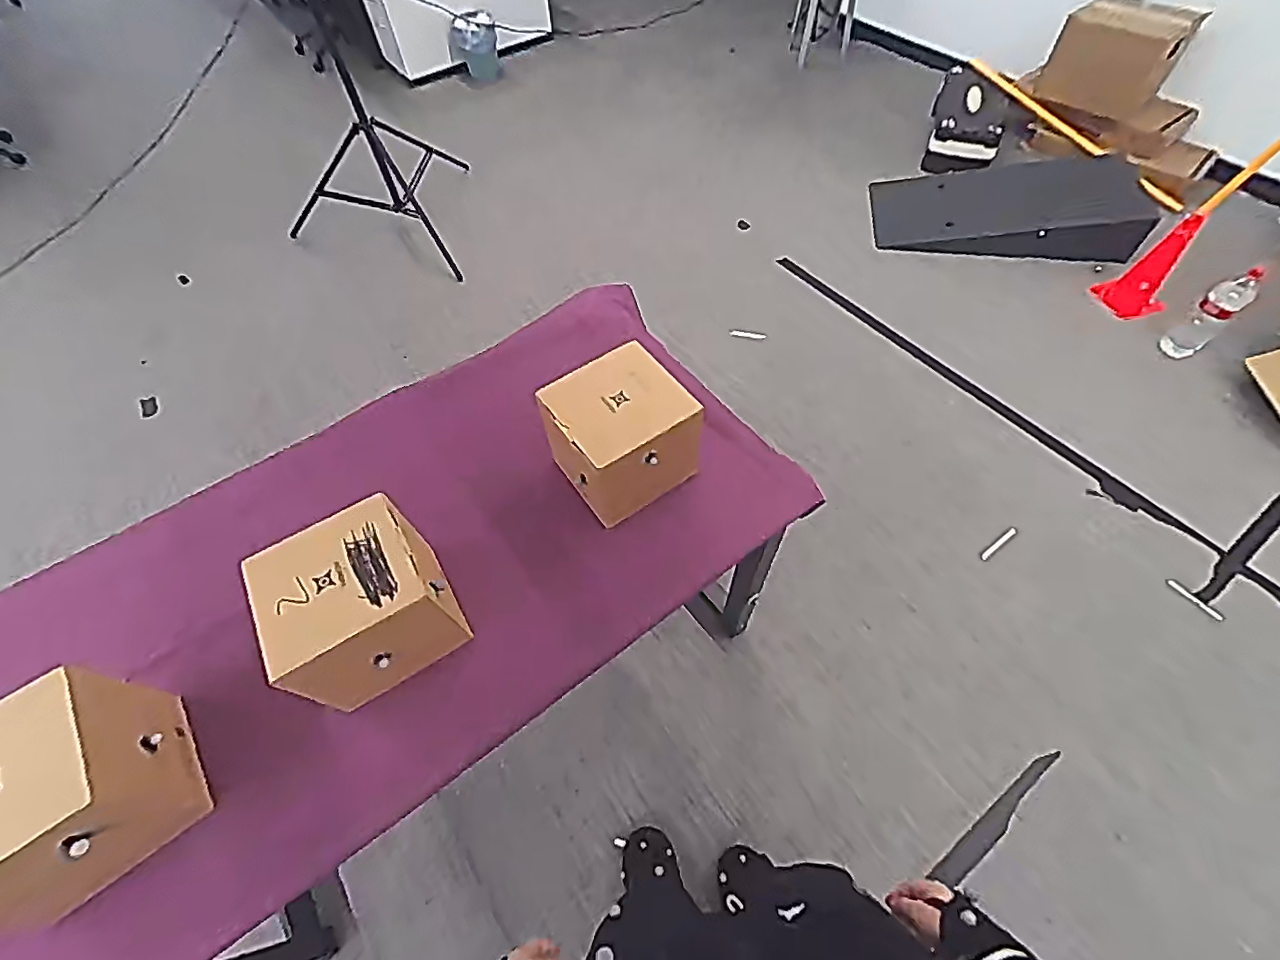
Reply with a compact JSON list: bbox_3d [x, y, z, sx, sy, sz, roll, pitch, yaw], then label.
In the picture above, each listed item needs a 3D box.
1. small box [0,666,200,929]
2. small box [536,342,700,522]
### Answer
[{"bbox_3d":[-0.620,0.336,0.578,0.179,0.176,0.168,-35,61,-18],"label":"small box"},{"bbox_3d":[-0.028,-0.066,0.811,0.179,0.176,0.168,-31,62,-17],"label":"small box"}]
